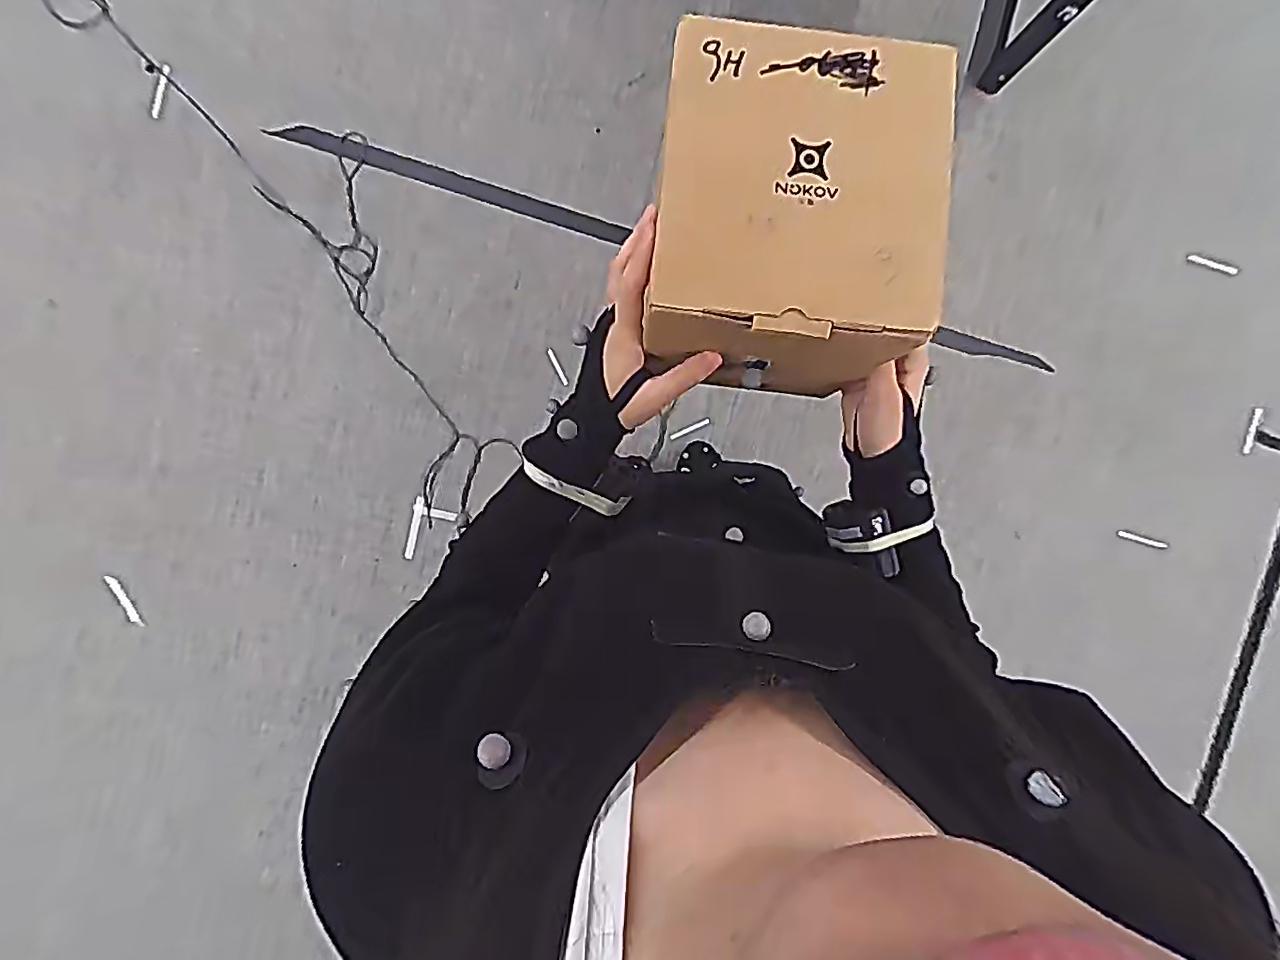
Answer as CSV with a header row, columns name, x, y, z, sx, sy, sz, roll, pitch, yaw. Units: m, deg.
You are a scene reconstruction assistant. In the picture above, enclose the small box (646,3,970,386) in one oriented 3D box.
name,x,y,z,sx,sy,sz,roll,pitch,yaw
small box,0.095,-0.171,0.382,0.168,0.176,0.179,6,88,-2
